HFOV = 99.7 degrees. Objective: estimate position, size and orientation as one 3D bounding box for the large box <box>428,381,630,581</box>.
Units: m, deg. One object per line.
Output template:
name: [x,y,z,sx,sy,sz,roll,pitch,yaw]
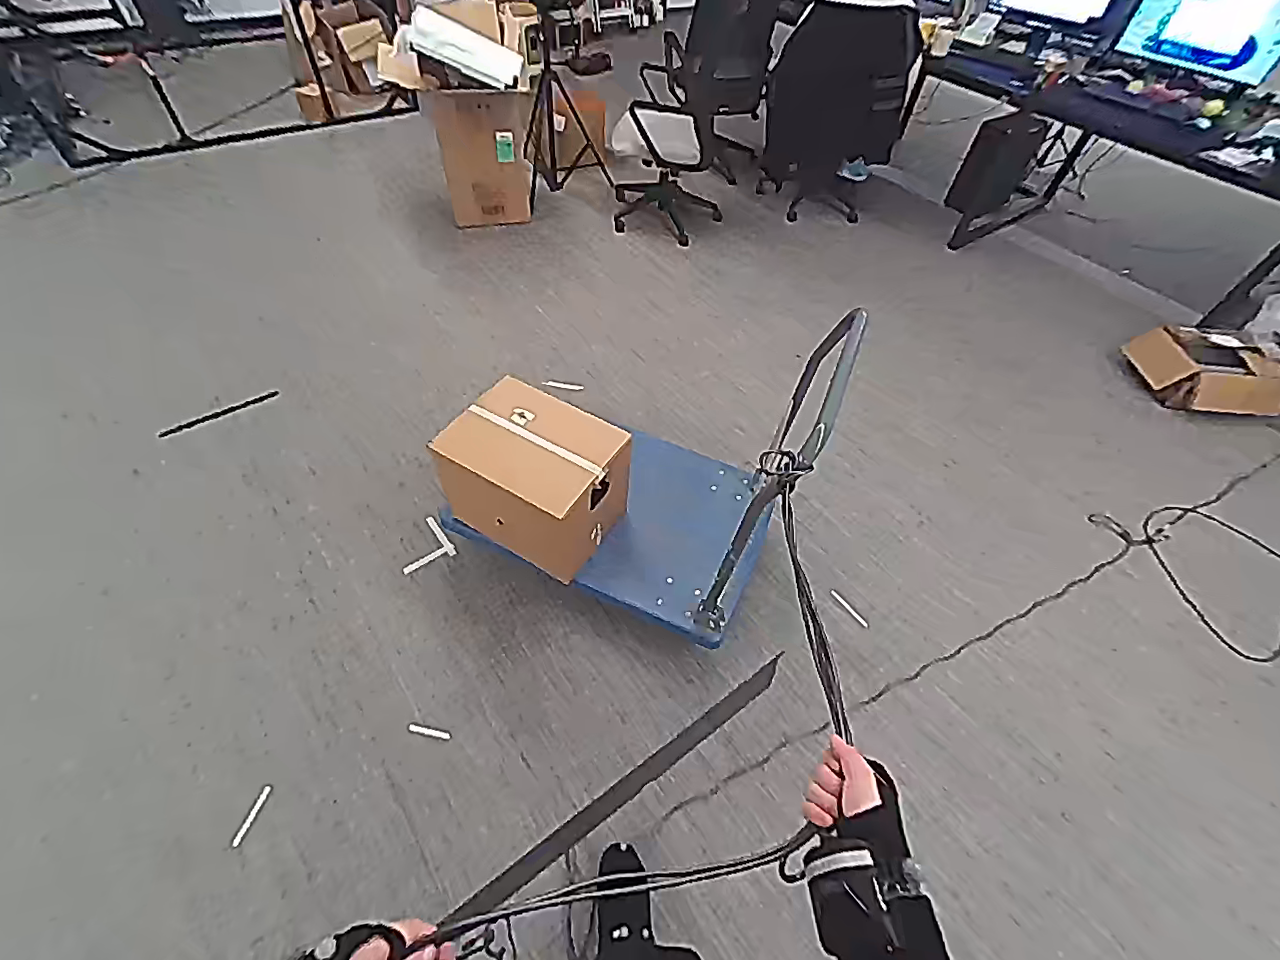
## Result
large box: [-0.273,0.003,1.447,0.408,0.320,0.320,26,53,16]
